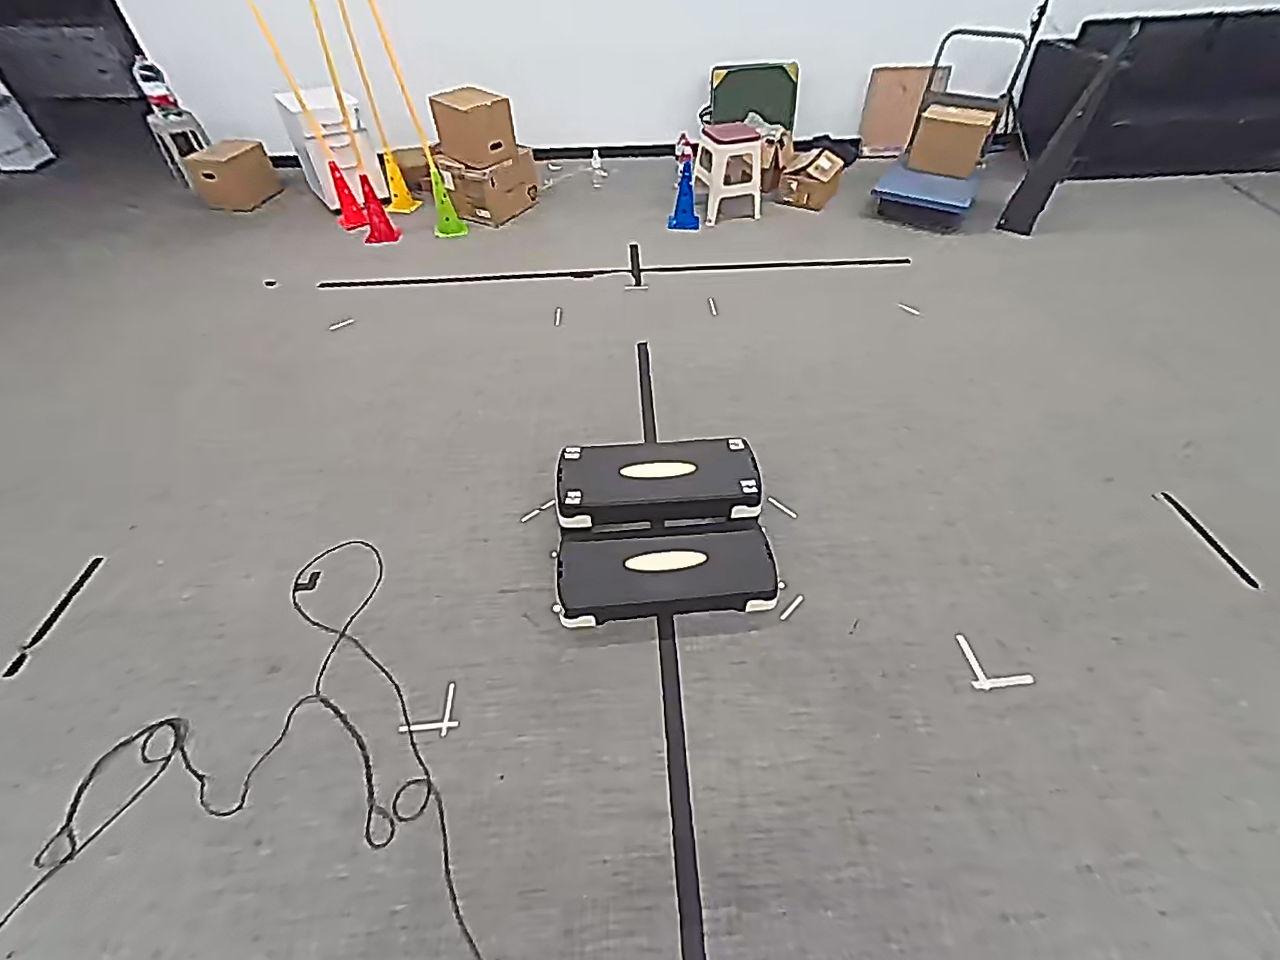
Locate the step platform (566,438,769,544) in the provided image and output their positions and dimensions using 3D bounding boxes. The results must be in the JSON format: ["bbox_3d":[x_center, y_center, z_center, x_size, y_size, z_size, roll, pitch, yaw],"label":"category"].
[{"bbox_3d":[0.090,0.029,1.853,0.684,0.204,0.286,-4,48,-4],"label":"step platform"}]
